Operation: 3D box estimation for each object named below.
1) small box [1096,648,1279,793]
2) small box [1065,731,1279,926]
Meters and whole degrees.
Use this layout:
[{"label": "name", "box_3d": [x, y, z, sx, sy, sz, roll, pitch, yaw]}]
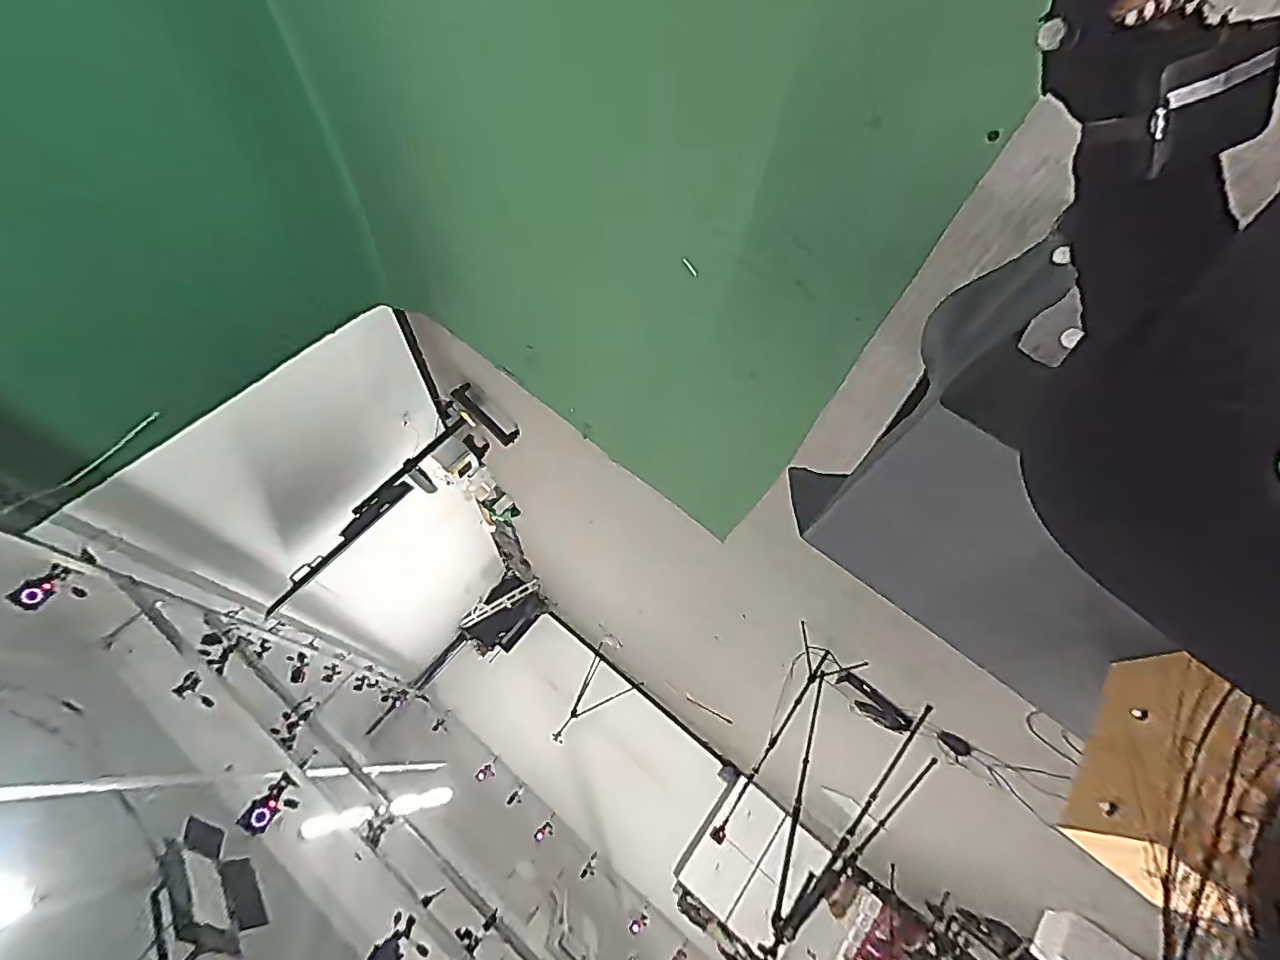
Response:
[{"label": "small box", "box_3d": [0.907, 0.394, 0.876, 0.168, 0.176, 0.179, 37, 157, 13]}, {"label": "small box", "box_3d": [0.805, 0.502, 0.811, 0.168, 0.176, 0.179, 37, 156, 13]}]
